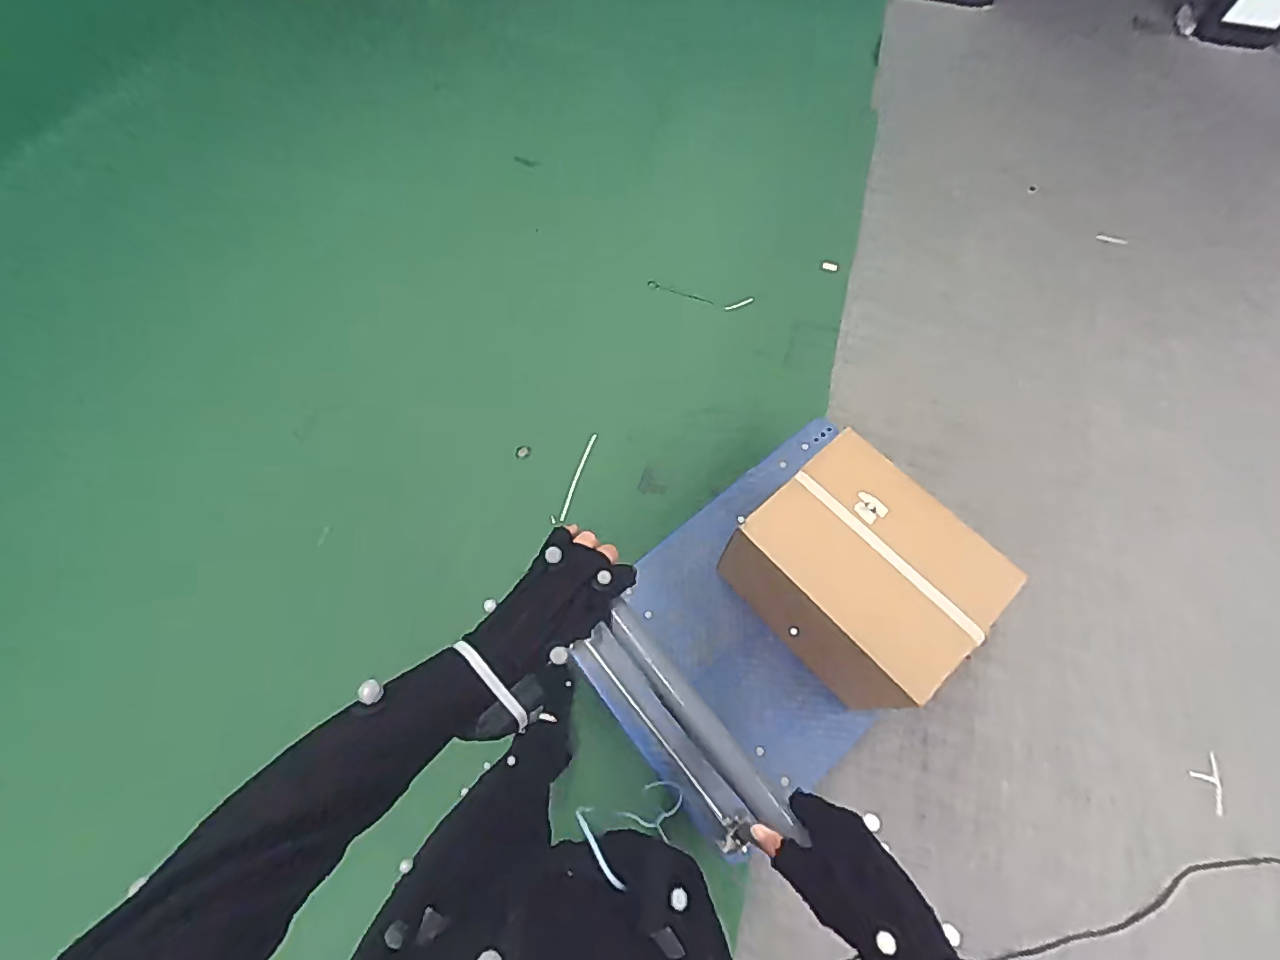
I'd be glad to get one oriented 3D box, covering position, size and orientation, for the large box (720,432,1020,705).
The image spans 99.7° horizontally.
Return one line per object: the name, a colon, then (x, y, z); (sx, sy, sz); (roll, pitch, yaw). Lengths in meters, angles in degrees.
large box: (0.424, 0.189, 1.097); (0.320, 0.320, 0.408); (-39, 71, -17)
